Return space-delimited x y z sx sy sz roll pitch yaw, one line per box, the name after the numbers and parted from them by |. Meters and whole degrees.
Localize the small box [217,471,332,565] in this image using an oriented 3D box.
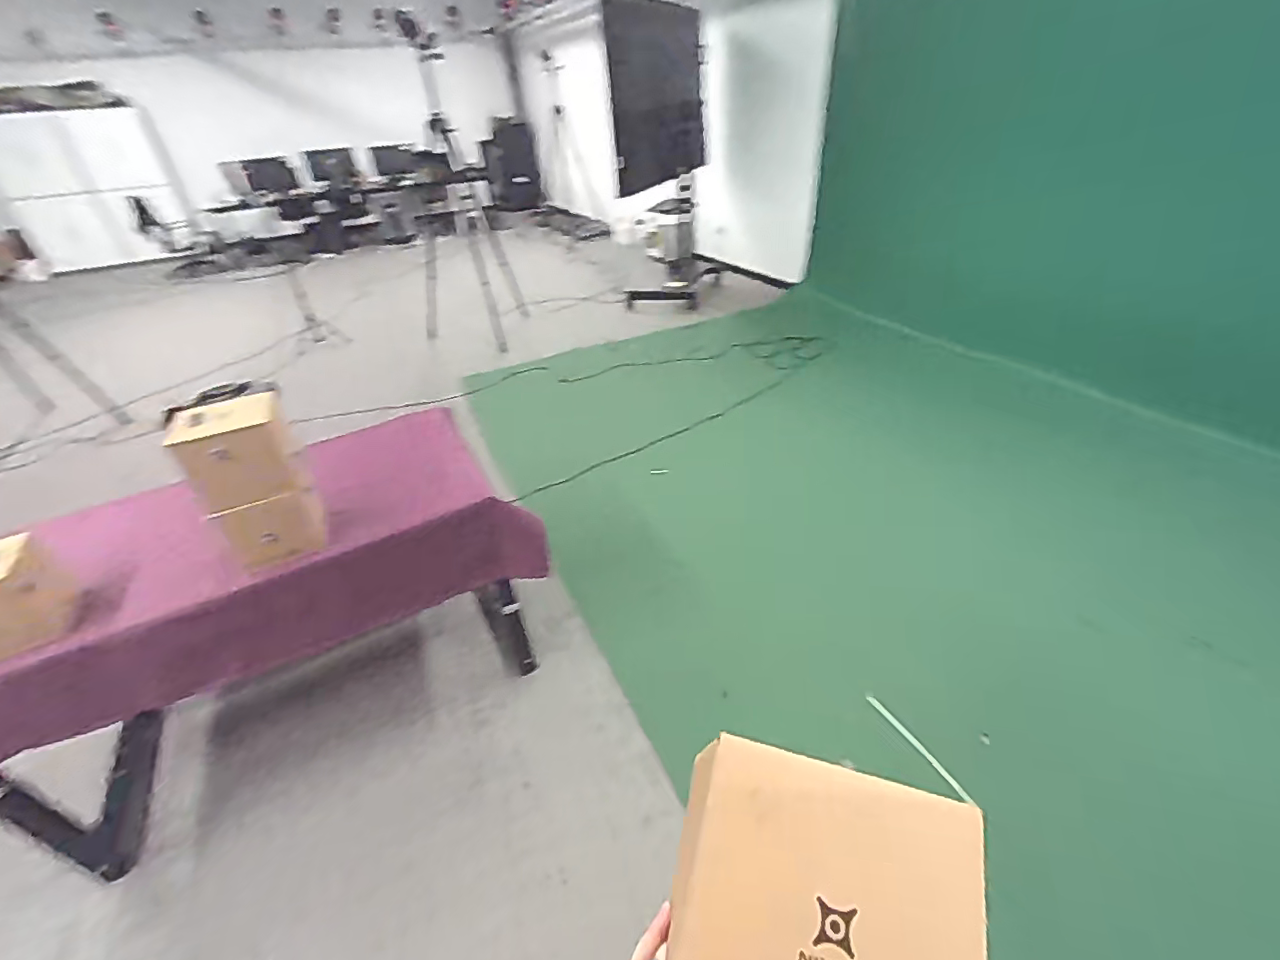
-0.827 0.074 1.241 0.168 0.176 0.179 -19 37 -20 | small box

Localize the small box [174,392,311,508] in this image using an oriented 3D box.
-0.831 -0.064 1.151 0.179 0.176 0.168 -18 38 -19 | small box
